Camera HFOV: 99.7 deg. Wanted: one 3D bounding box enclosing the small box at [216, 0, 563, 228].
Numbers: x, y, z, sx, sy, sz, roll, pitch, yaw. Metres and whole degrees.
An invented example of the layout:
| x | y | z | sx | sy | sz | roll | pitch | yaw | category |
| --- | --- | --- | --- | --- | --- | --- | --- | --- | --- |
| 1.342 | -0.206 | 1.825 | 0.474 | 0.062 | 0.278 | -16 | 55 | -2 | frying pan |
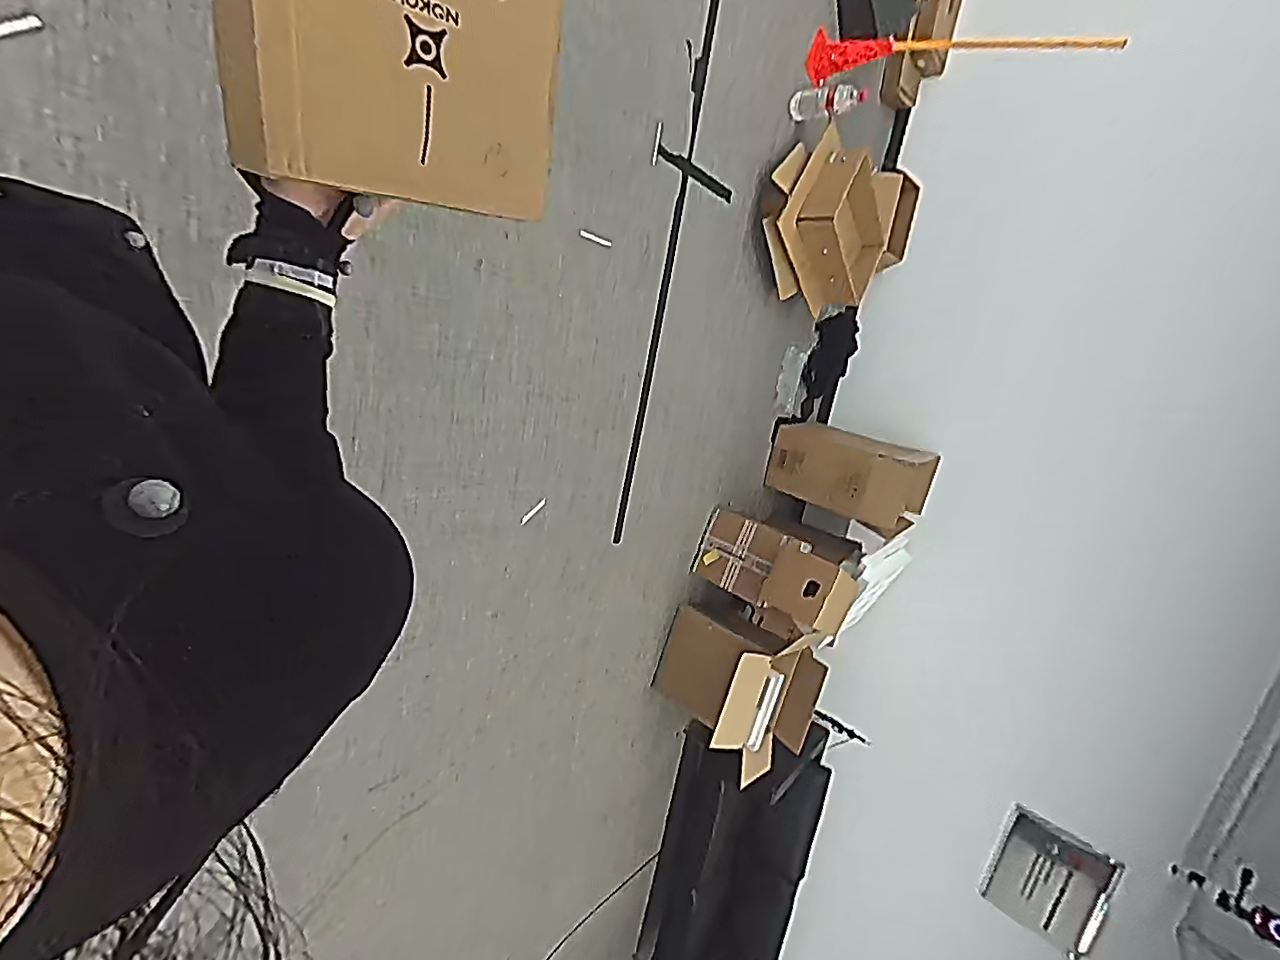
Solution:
| x | y | z | sx | sy | sz | roll | pitch | yaw | category |
| --- | --- | --- | --- | --- | --- | --- | --- | --- | --- |
| -0.170 | -0.283 | 0.360 | 0.168 | 0.176 | 0.179 | -10 | 122 | -39 | small box |
